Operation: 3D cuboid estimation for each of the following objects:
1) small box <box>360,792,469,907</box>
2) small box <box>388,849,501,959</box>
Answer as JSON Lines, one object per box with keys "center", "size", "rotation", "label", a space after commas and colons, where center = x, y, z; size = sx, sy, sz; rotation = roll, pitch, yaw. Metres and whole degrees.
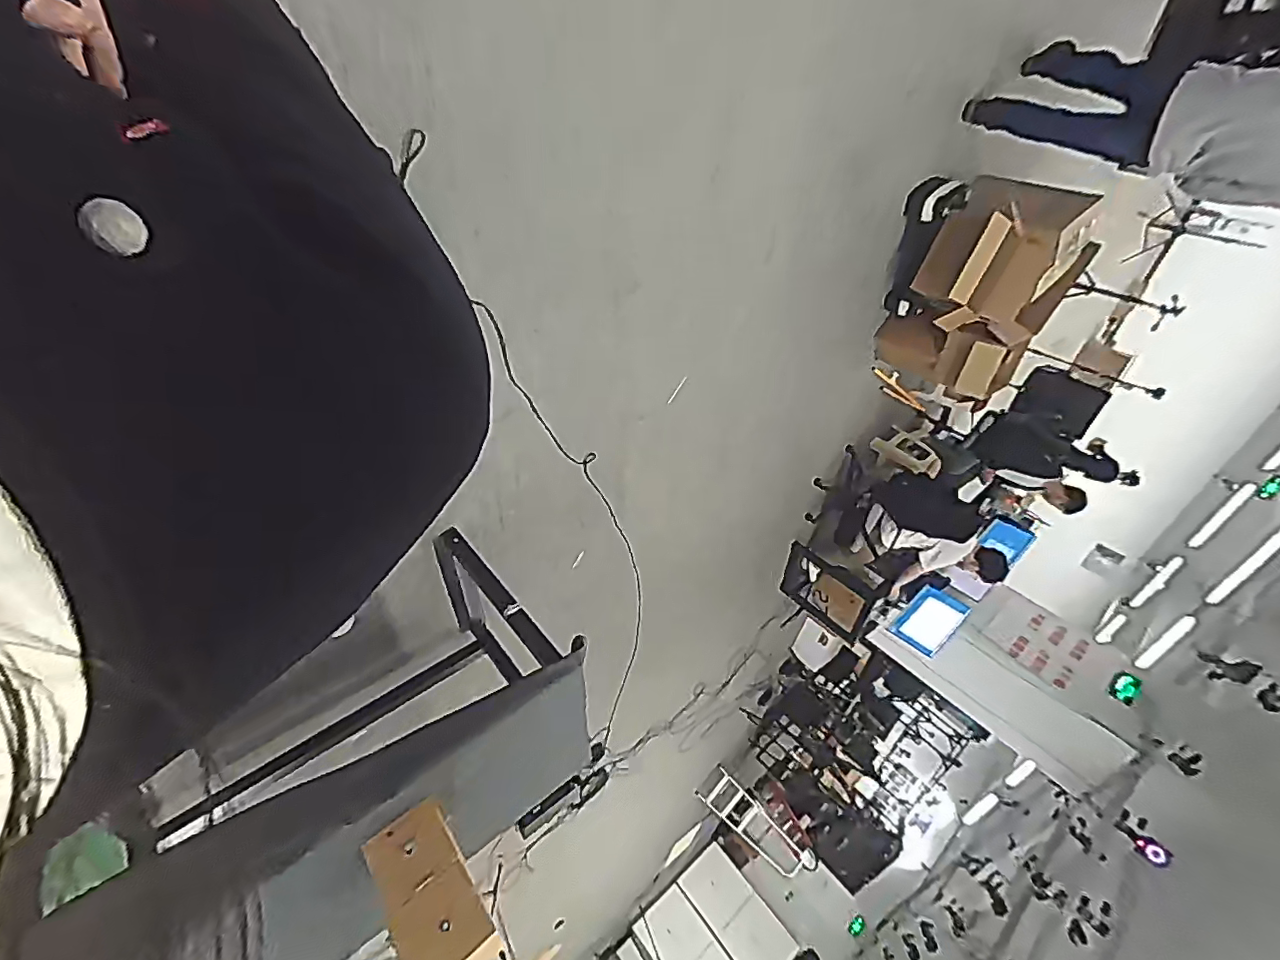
{"center": [-0.535, 0.885, 1.284], "size": [0.168, 0.176, 0.179], "rotation": [-29, 140, -30], "label": "small box"}
{"center": [-0.432, 0.969, 1.188], "size": [0.179, 0.176, 0.168], "rotation": [-29, 140, -32], "label": "small box"}
